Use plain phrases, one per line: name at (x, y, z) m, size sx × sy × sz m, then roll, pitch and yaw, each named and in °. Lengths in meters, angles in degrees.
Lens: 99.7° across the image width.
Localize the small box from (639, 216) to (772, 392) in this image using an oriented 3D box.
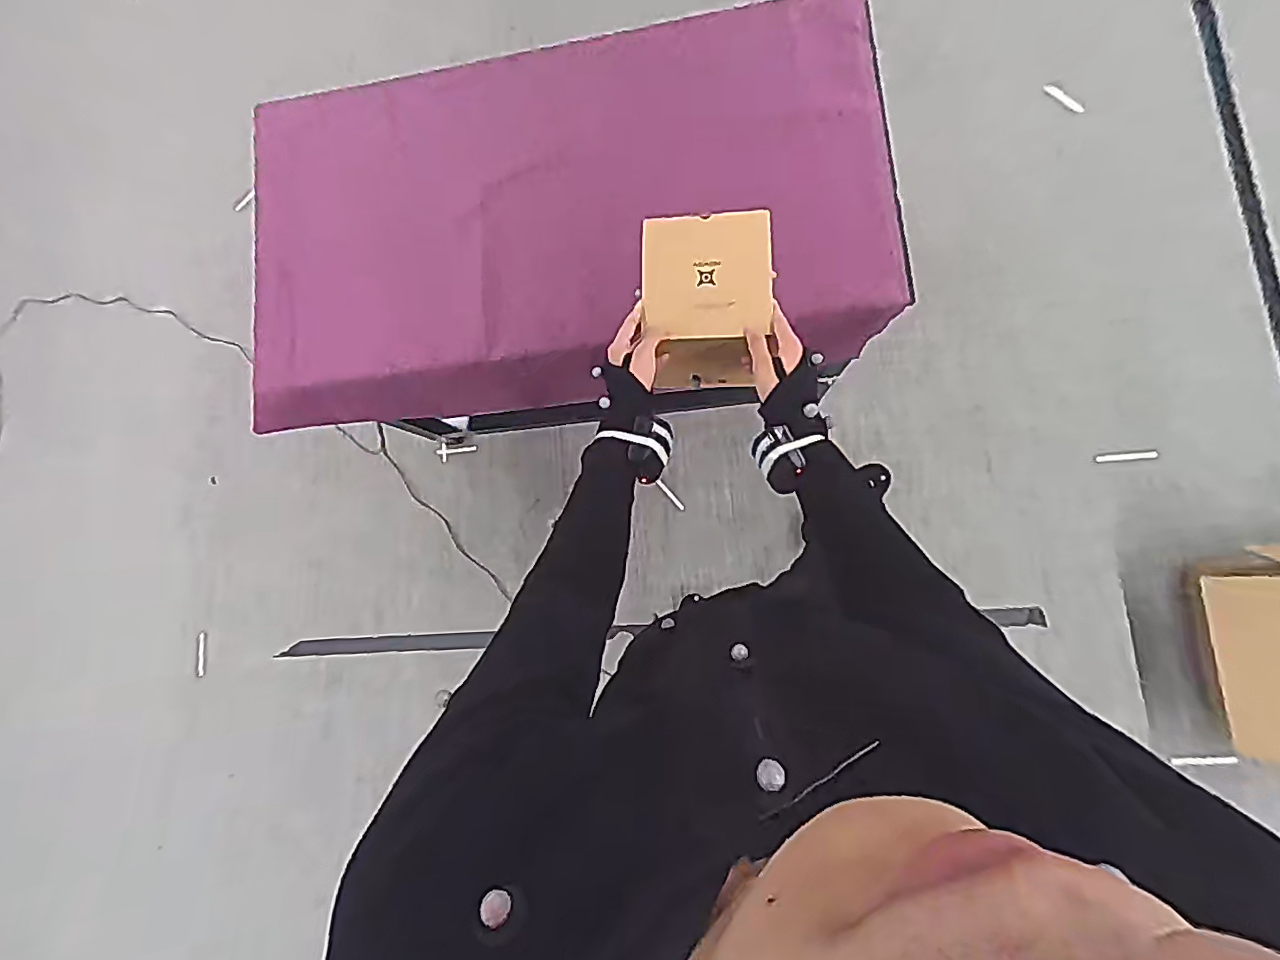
small box at (0.090, -0.237, 0.761) m, size 0.168 × 0.176 × 0.179 m, roll 0°, pitch 77°, yaw 7°

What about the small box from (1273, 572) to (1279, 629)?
small box at (1.532, 0.278, 1.157) m, size 0.179 × 0.176 × 0.168 m, roll -7°, pitch 84°, yaw 8°
